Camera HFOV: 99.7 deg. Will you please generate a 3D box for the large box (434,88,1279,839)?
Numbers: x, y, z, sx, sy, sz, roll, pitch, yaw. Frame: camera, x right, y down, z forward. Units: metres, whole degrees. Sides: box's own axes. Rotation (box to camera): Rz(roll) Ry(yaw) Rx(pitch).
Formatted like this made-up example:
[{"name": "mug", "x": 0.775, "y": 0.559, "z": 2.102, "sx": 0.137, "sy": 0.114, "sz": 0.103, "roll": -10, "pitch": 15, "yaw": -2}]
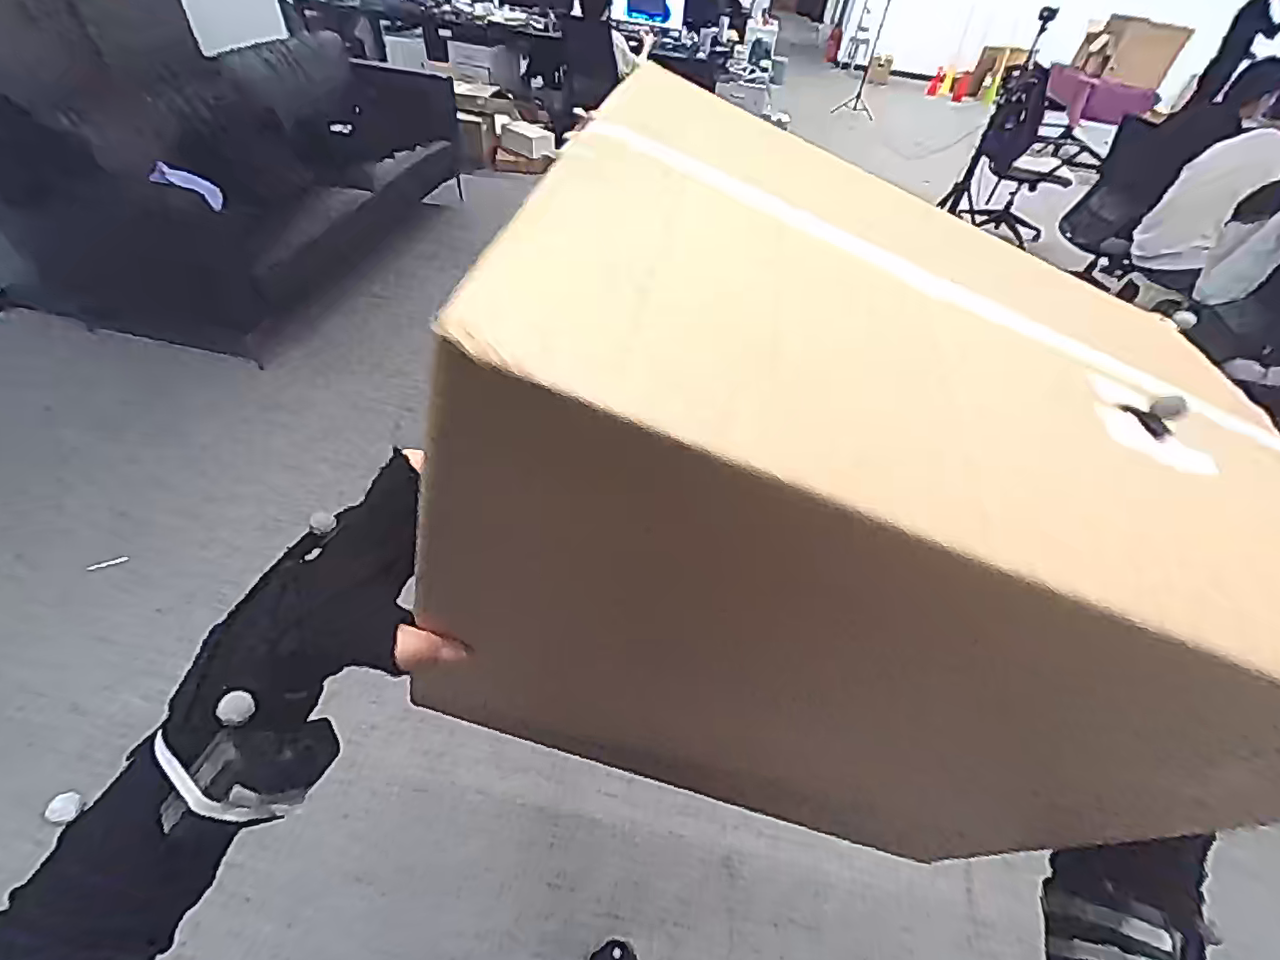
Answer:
[{"name": "large box", "x": 0.118, "y": 0.016, "z": 0.384, "sx": 0.408, "sy": 0.320, "sz": 0.320, "roll": 22, "pitch": 49, "yaw": -8}]
